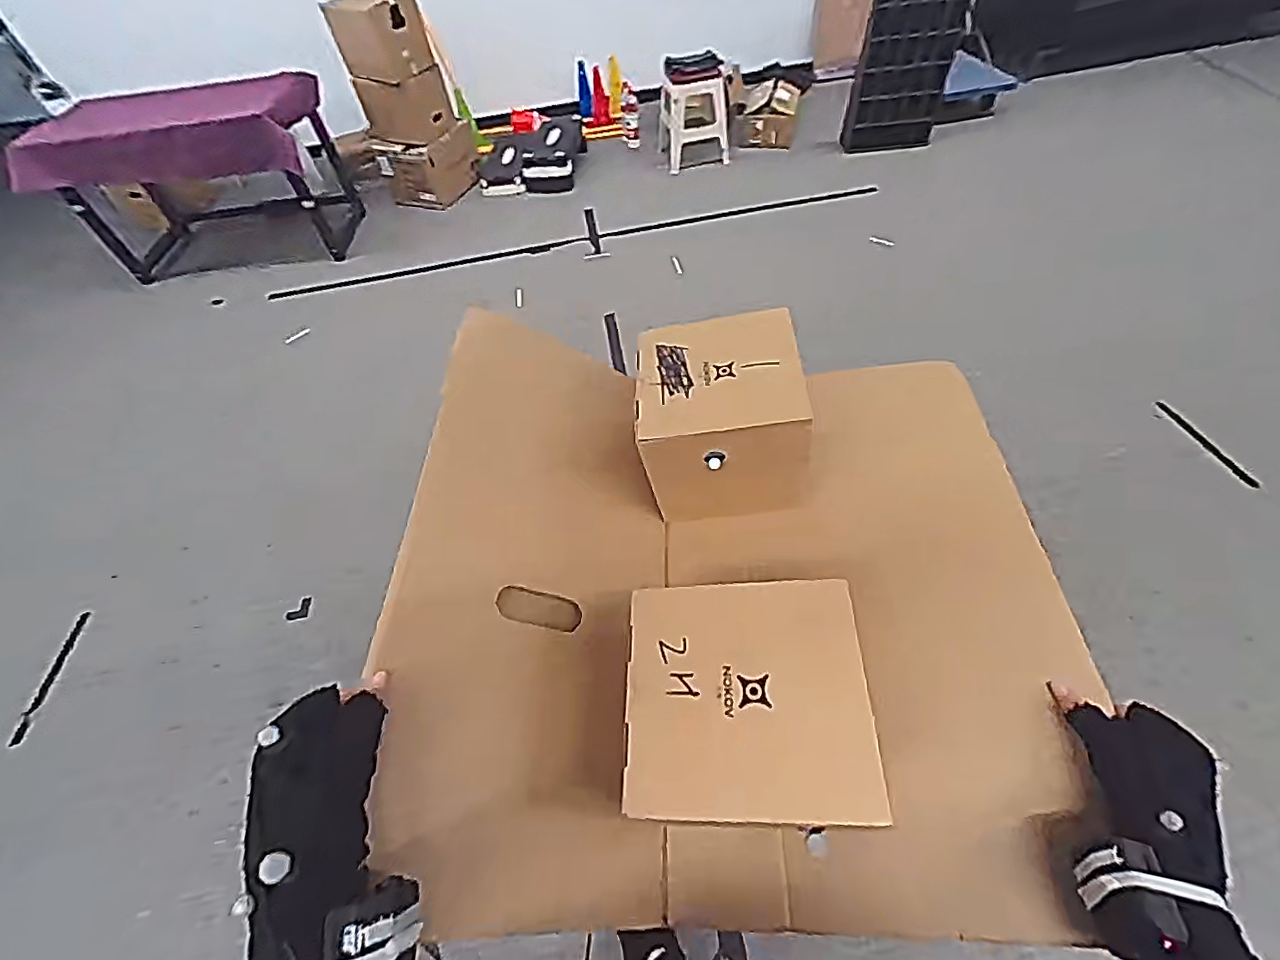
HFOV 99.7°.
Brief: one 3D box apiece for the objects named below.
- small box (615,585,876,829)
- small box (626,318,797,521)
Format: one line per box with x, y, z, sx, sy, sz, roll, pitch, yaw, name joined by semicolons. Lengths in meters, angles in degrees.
0.087;0.202;0.470;0.179;0.176;0.168;-6;56;12;small box
0.088;-0.063;0.650;0.179;0.176;0.168;-7;55;10;small box
